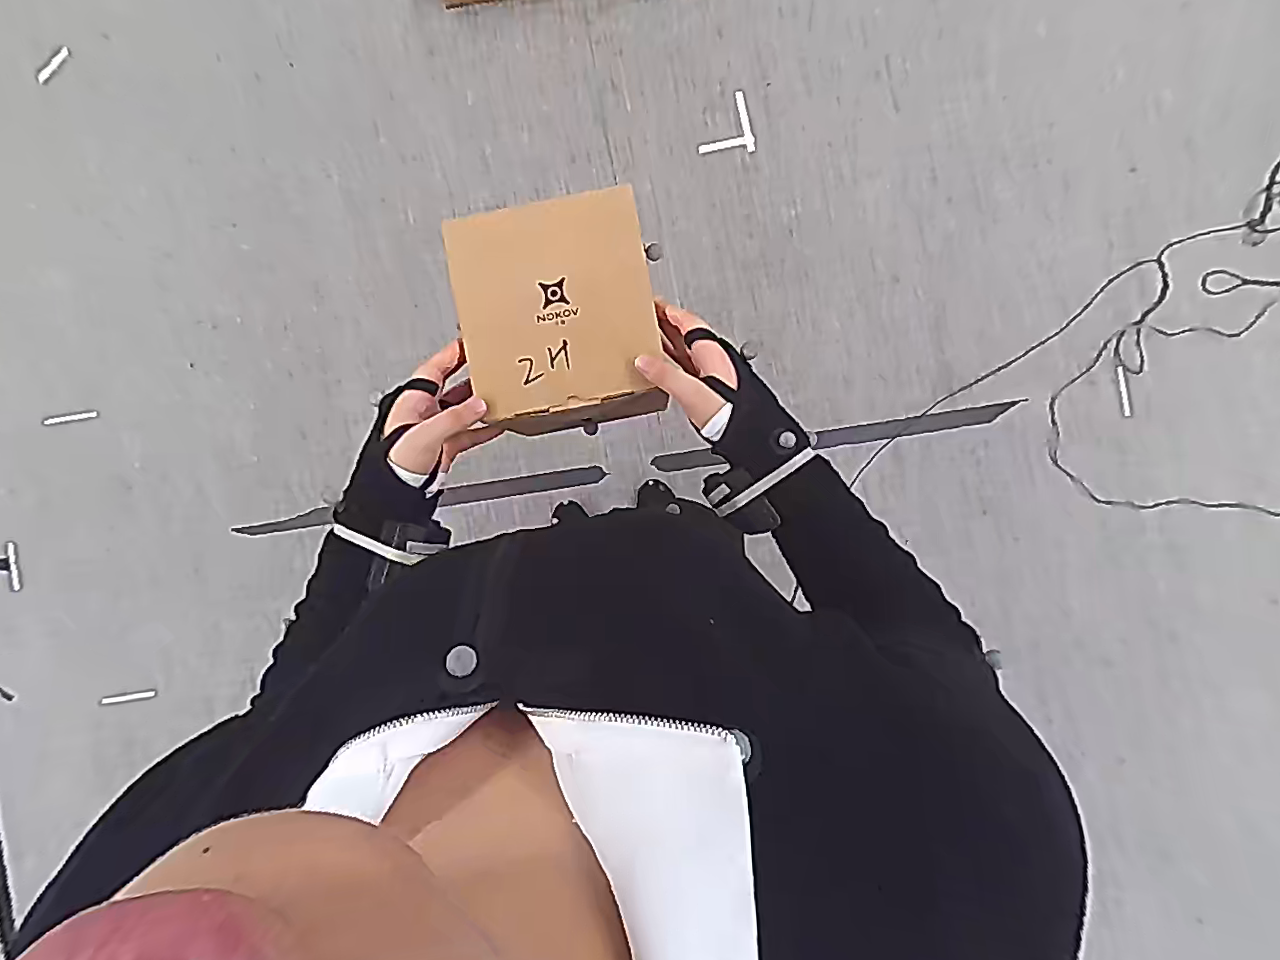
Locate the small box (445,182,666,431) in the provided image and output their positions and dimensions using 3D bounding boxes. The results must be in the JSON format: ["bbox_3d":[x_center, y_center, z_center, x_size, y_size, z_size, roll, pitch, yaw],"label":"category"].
[{"bbox_3d":[-0.070,-0.153,0.535,0.168,0.176,0.179,-10,90,2],"label":"small box"}]
